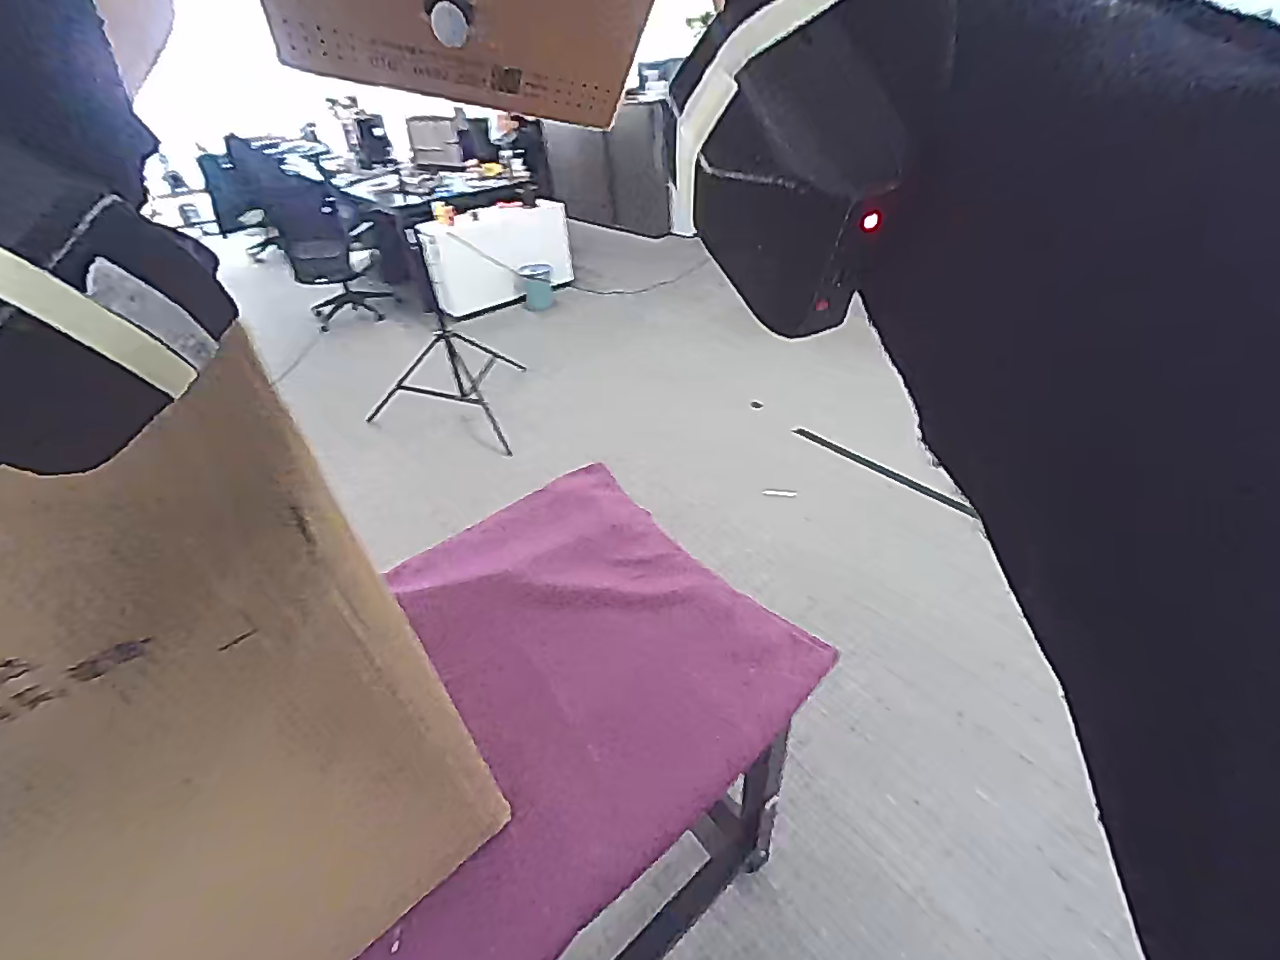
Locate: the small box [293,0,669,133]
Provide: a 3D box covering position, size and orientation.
[{"bbox_3d":[-0.068,-0.297,0.226,0.168,0.179,0.176,-2,-9,-19],"label":"small box"}]
